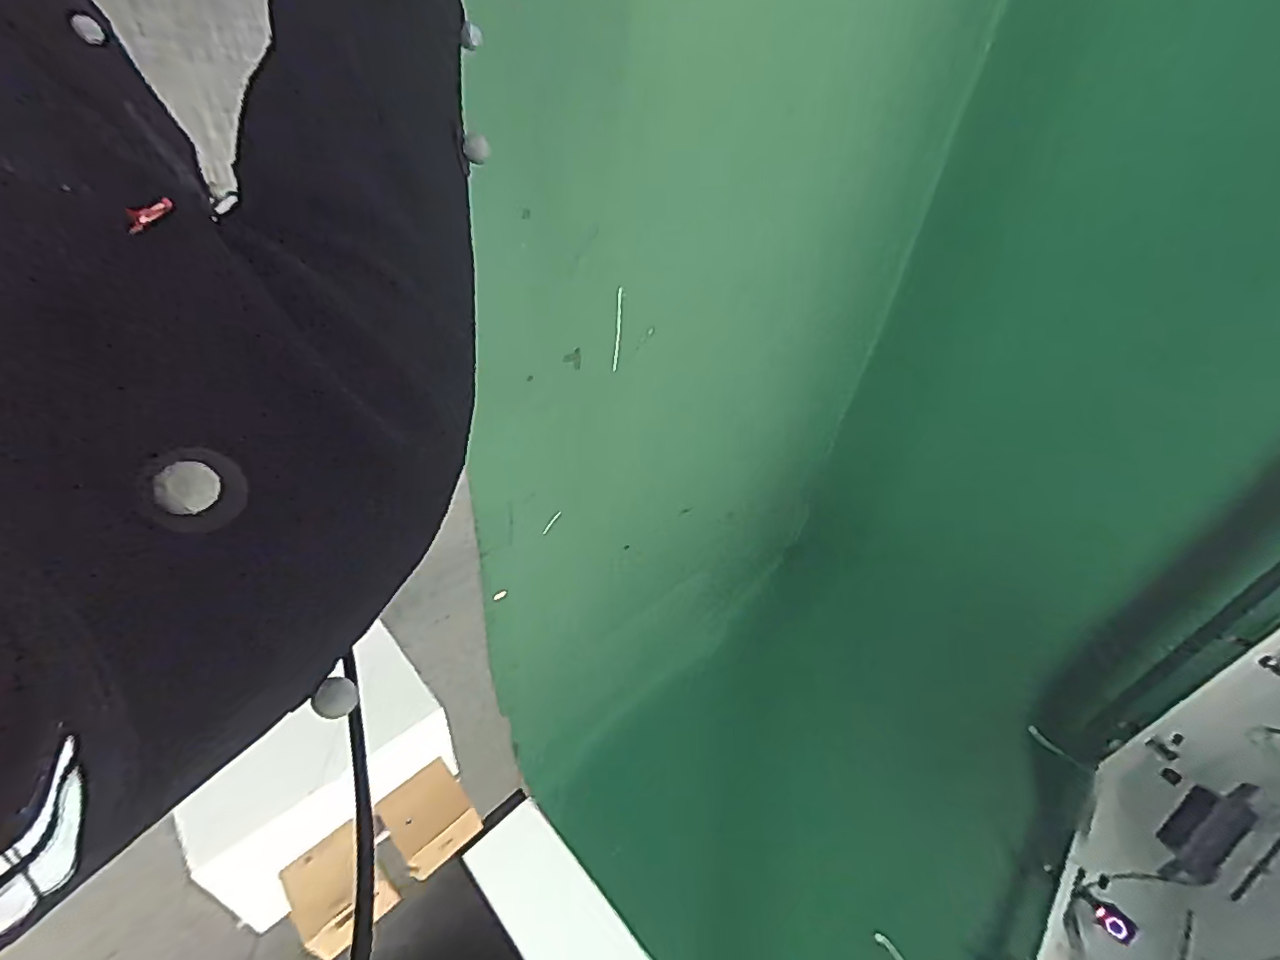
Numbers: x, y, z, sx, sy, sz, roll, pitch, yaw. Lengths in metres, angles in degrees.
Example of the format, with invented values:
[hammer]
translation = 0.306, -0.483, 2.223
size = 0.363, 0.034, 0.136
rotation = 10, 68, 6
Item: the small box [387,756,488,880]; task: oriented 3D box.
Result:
[small box]
translation = -0.517, 0.851, 1.371
size = 0.179, 0.176, 0.168
rotation = -32, 142, -33
